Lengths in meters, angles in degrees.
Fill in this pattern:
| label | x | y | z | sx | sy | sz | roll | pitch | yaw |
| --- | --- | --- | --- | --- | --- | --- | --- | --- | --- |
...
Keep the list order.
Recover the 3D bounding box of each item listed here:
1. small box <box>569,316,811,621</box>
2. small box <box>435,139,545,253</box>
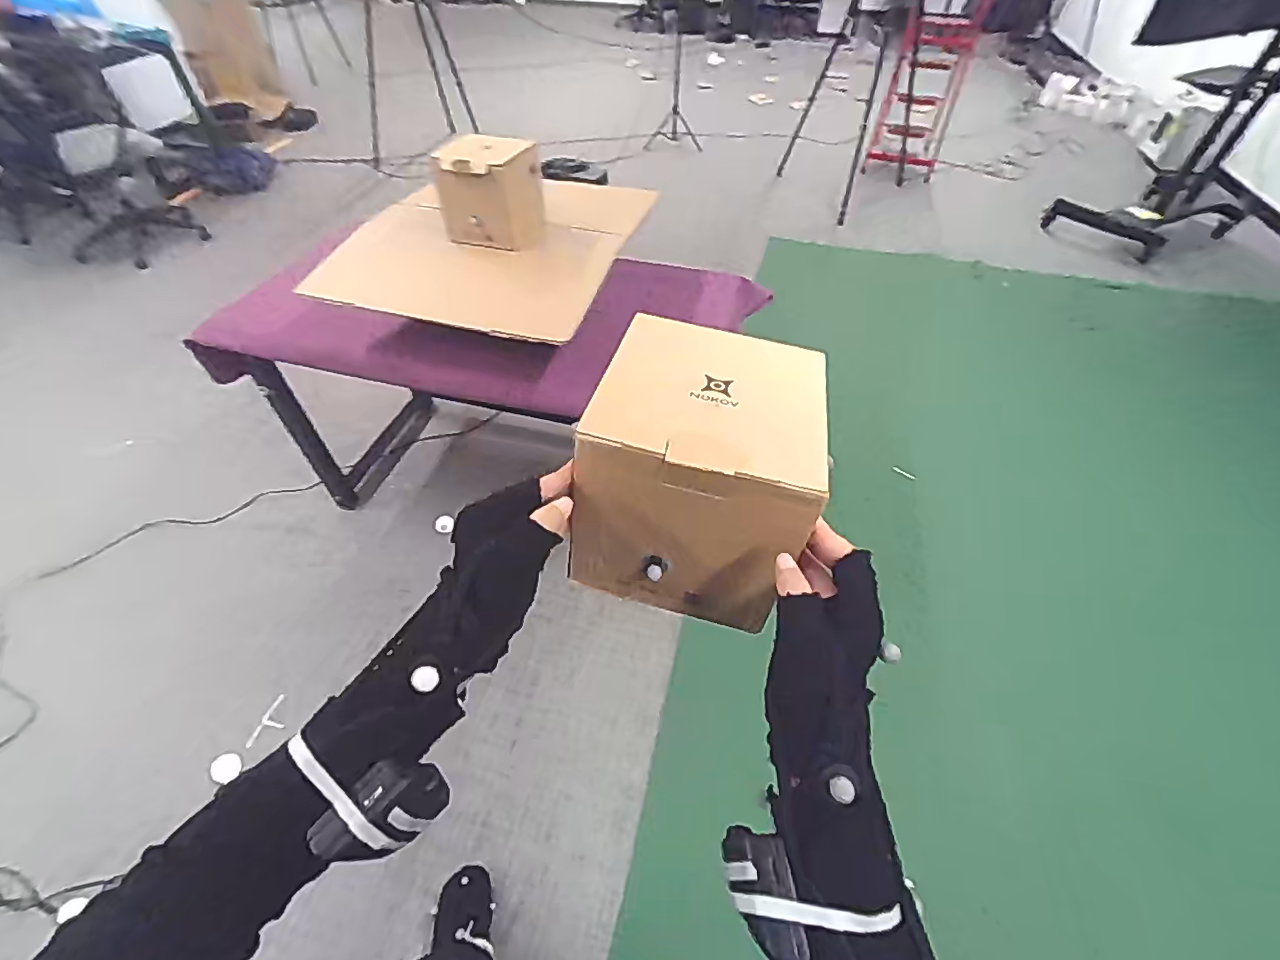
| label | x | y | z | sx | sy | sz | roll | pitch | yaw |
| --- | --- | --- | --- | --- | --- | --- | --- | --- | --- |
| small box | 0.039 | -0.011 | 0.466 | 0.168 | 0.176 | 0.179 | 13 | 45 | 4 |
| small box | -0.320 | -0.629 | 1.198 | 0.168 | 0.176 | 0.179 | 13 | 49 | 11 |
